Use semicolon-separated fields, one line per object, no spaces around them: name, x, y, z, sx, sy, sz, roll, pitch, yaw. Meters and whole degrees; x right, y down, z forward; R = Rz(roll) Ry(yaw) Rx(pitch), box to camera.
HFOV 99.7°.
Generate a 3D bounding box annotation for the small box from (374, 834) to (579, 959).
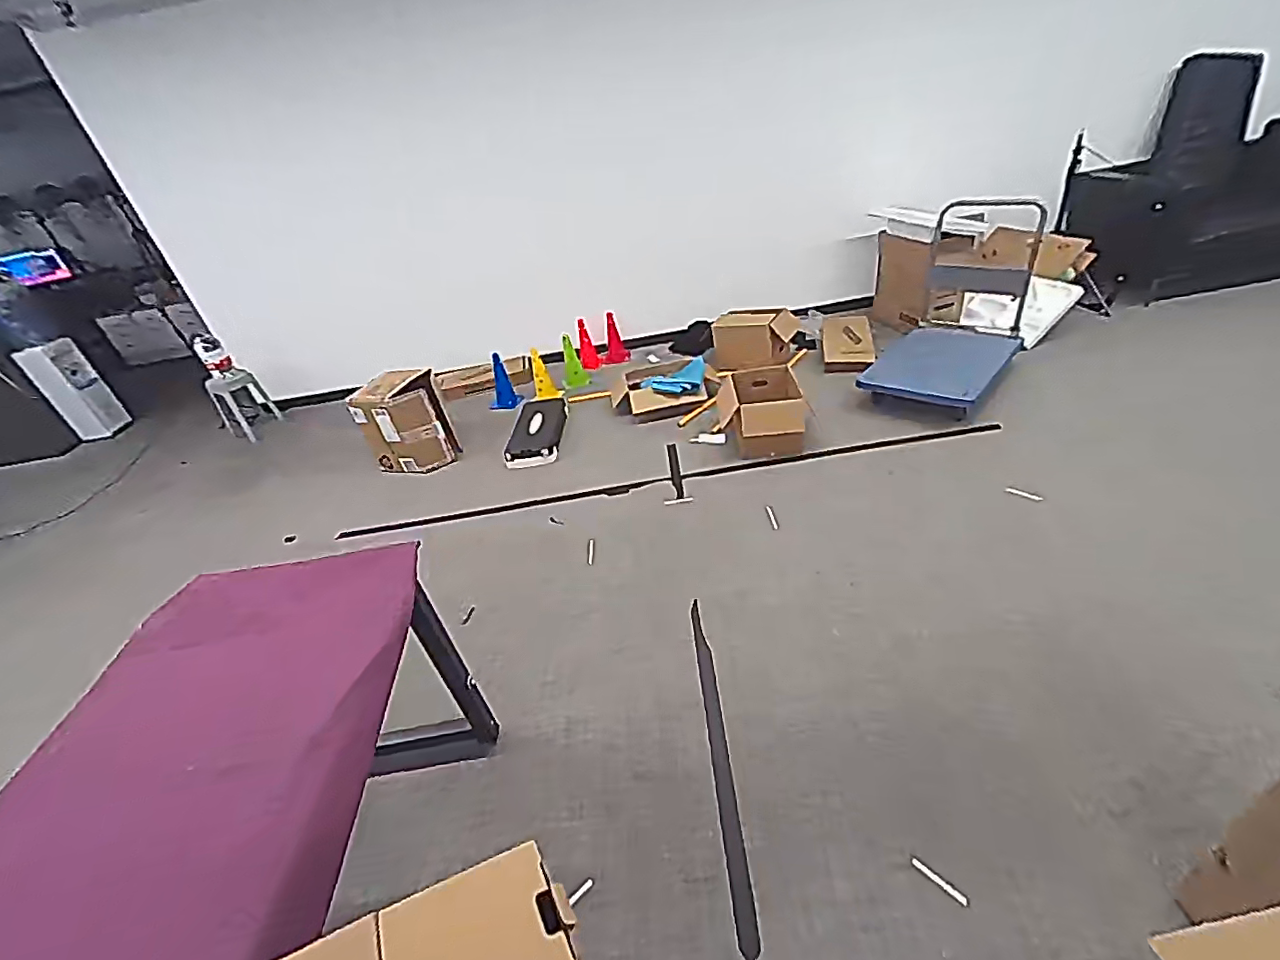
small box;-0.167;0.537;0.572;0.179;0.176;0.168;-10;27;-28
